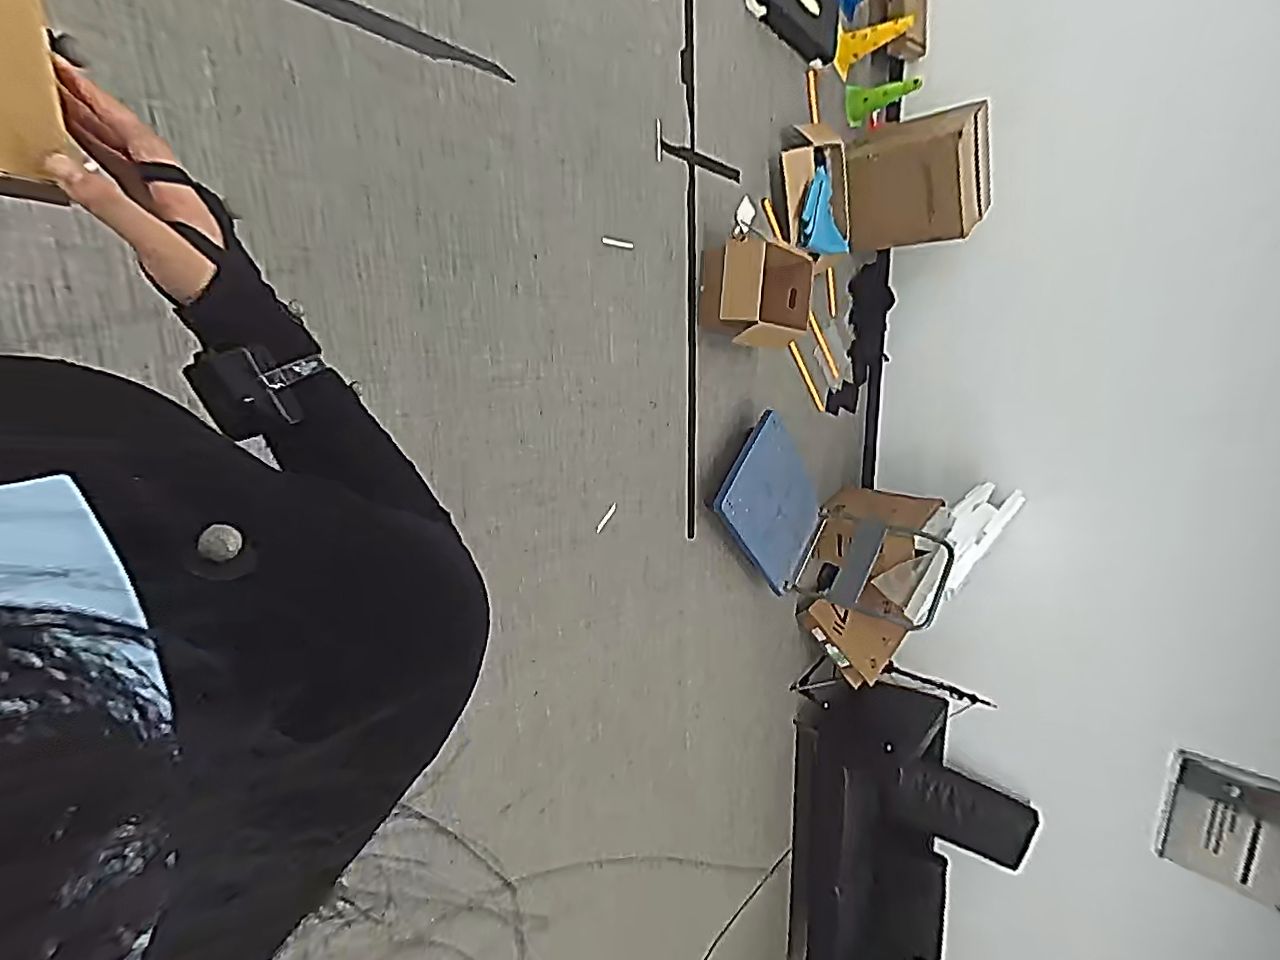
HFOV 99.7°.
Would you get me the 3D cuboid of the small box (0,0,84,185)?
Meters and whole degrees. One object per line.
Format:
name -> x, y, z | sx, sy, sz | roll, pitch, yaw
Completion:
small box -> -0.426, -0.273, 0.282 | 0.168, 0.176, 0.179 | -11, 115, -45
